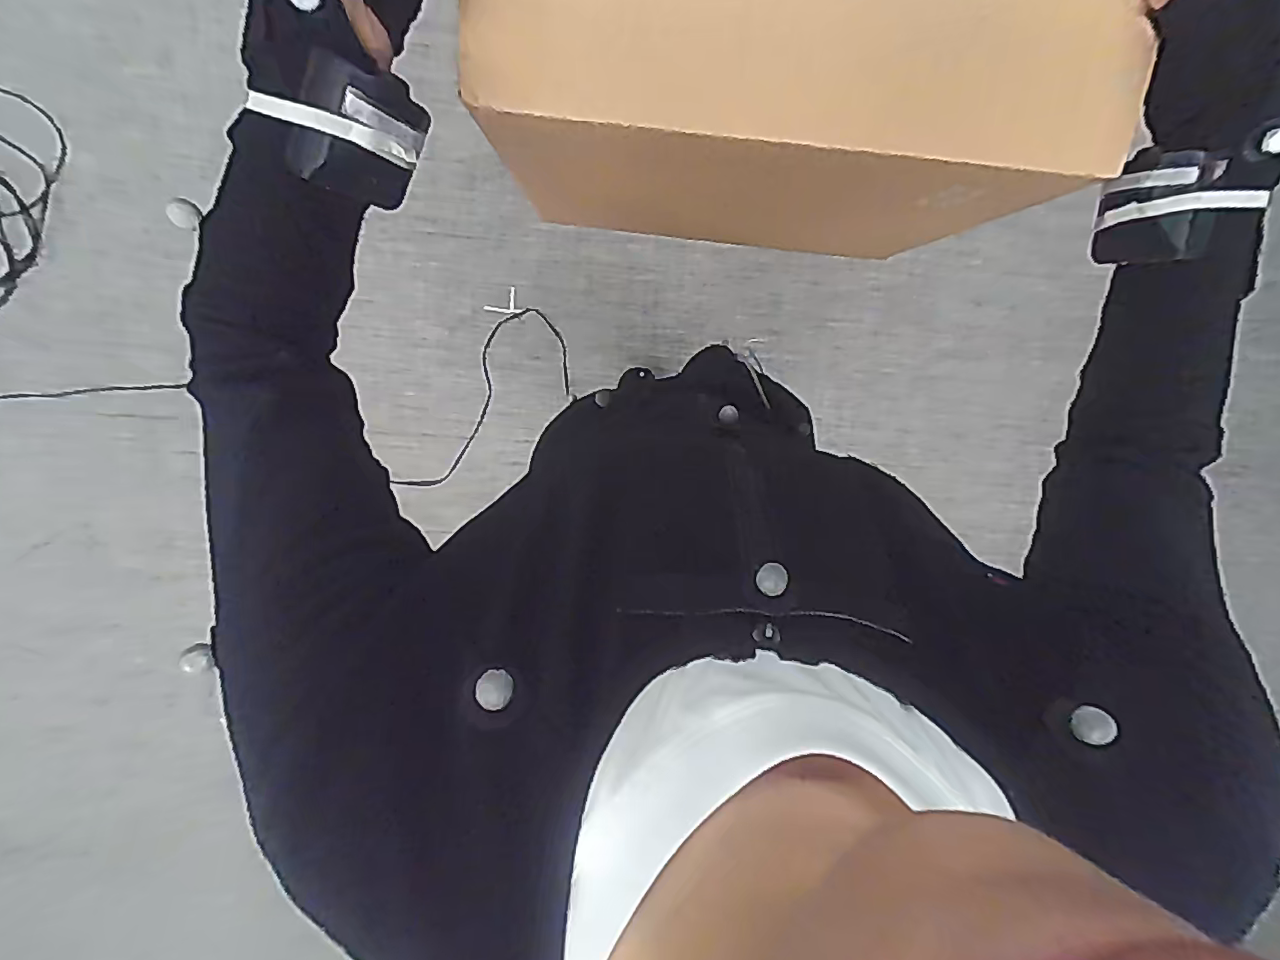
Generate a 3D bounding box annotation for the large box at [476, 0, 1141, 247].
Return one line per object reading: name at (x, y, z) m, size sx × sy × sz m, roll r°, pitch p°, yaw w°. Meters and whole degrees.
large box at (0.103, -0.397, 0.448) m, size 0.408 × 0.320 × 0.320 m, roll 4°, pitch 104°, yaw -2°
